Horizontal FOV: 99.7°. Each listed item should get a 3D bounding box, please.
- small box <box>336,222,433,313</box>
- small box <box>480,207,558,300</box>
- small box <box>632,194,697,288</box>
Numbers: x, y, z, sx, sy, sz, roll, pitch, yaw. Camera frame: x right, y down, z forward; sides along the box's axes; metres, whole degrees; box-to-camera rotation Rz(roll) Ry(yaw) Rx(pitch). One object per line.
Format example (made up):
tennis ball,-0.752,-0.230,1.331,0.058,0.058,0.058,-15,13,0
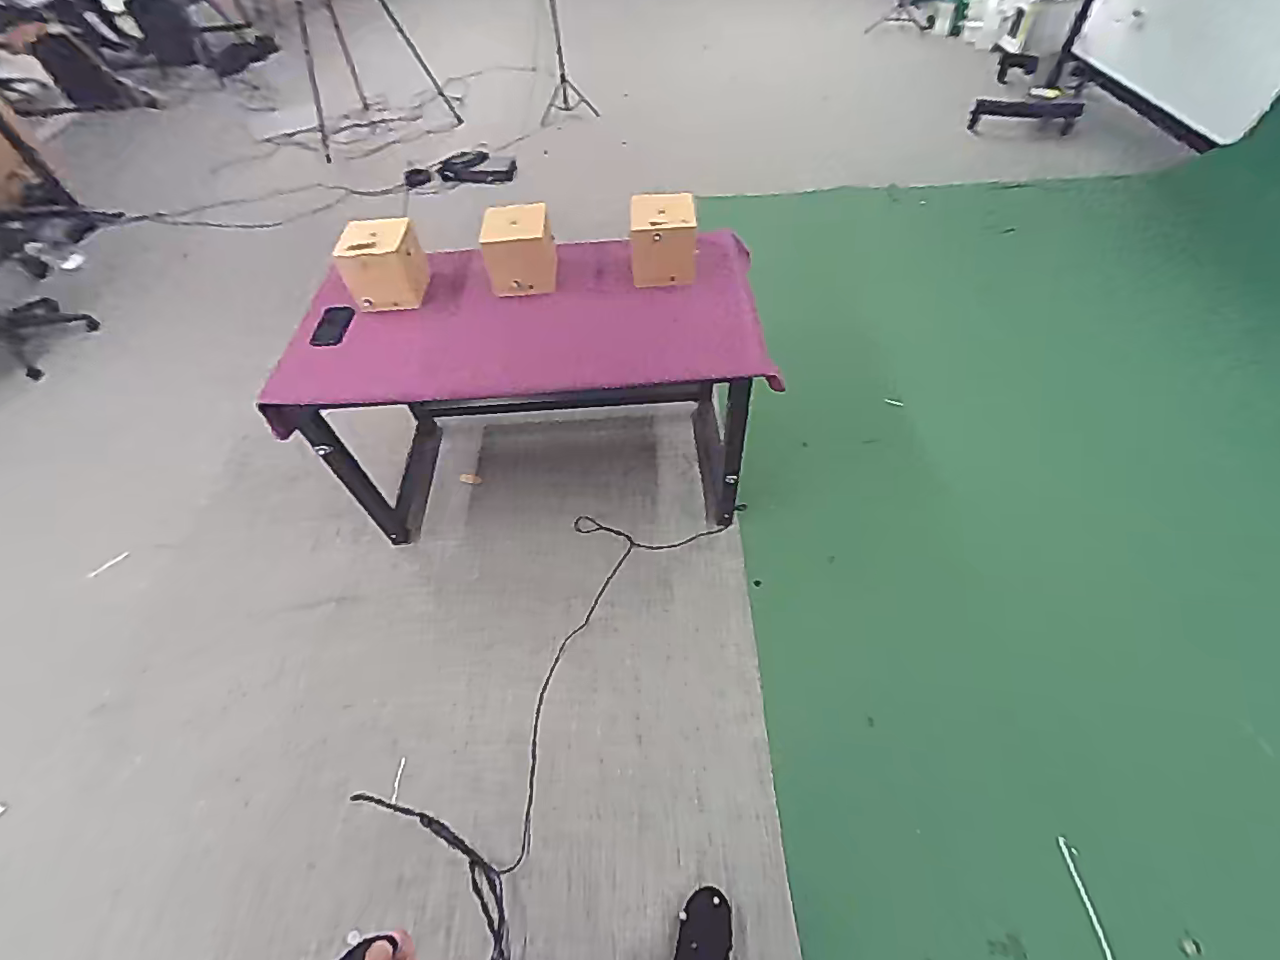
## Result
small box,-0.685,-0.572,1.473,0.168,0.176,0.179,-4,52,1
small box,-0.322,-0.619,1.479,0.168,0.176,0.179,-5,54,2
small box,0.066,-0.645,1.464,0.168,0.176,0.179,-3,53,4
